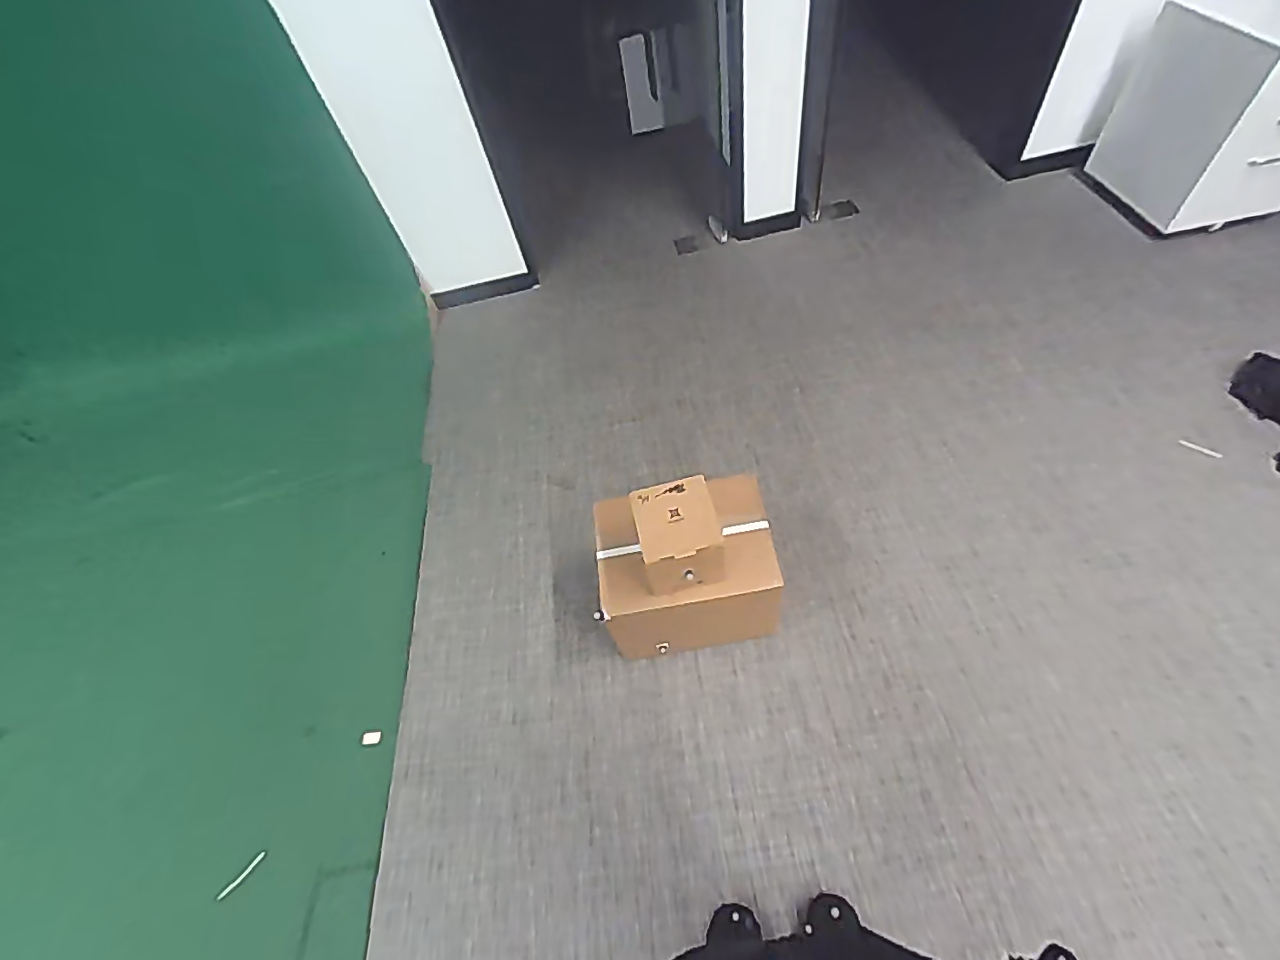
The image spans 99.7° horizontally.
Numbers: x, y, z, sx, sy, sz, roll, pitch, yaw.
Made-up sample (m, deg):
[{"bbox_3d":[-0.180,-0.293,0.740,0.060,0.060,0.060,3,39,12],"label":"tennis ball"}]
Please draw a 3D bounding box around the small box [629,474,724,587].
[{"bbox_3d":[0.083,0.118,1.172,0.168,0.176,0.179,-14,55,2],"label":"small box"}]
